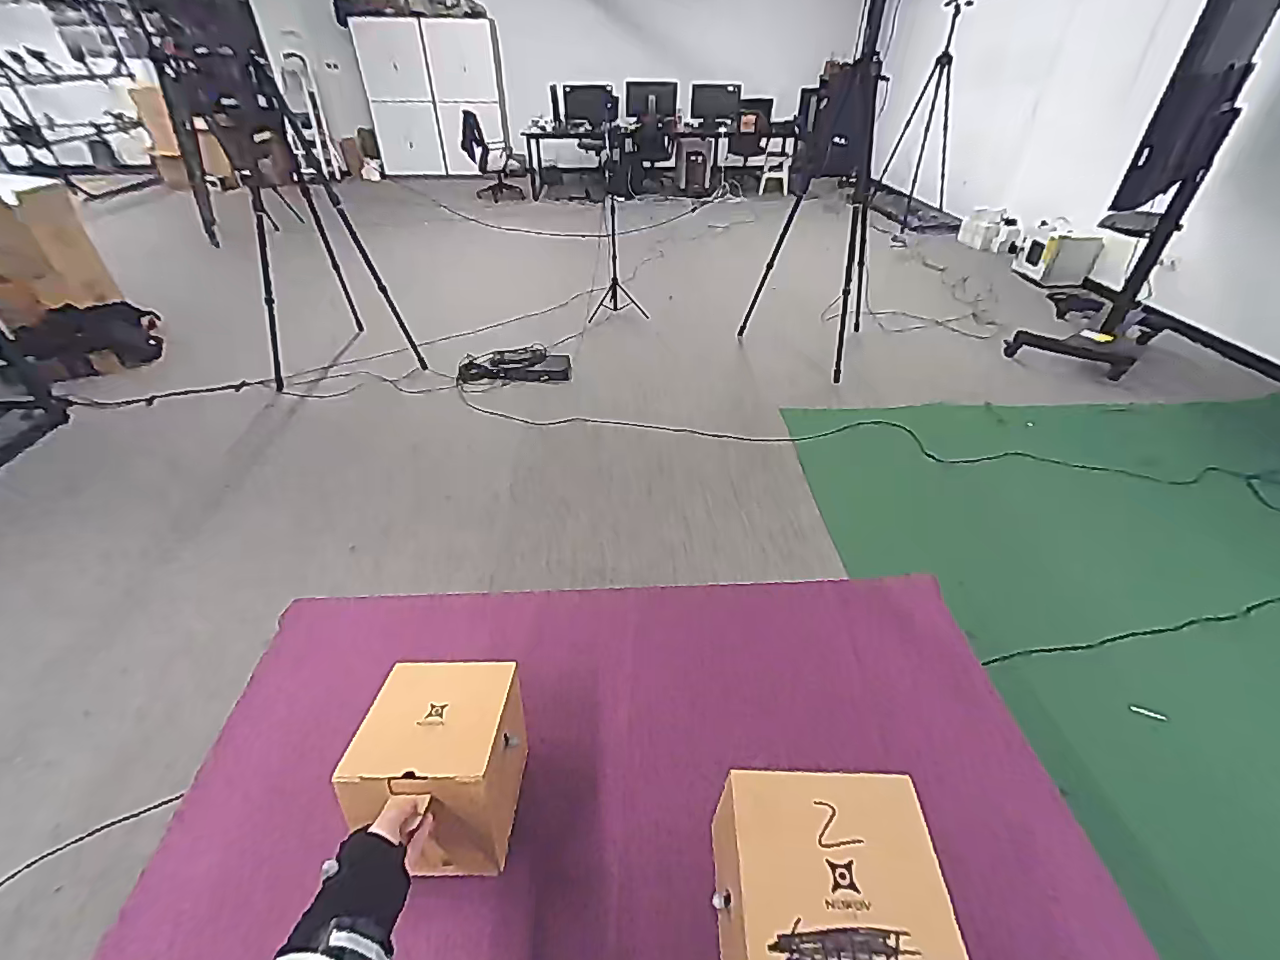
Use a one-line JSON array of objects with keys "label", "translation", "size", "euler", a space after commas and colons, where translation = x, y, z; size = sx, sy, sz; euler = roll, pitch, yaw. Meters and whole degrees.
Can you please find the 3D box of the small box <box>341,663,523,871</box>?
[{"label": "small box", "translation": [-0.251, 0.364, 0.702], "size": [0.168, 0.176, 0.179], "euler": [0, 25, 0]}]
